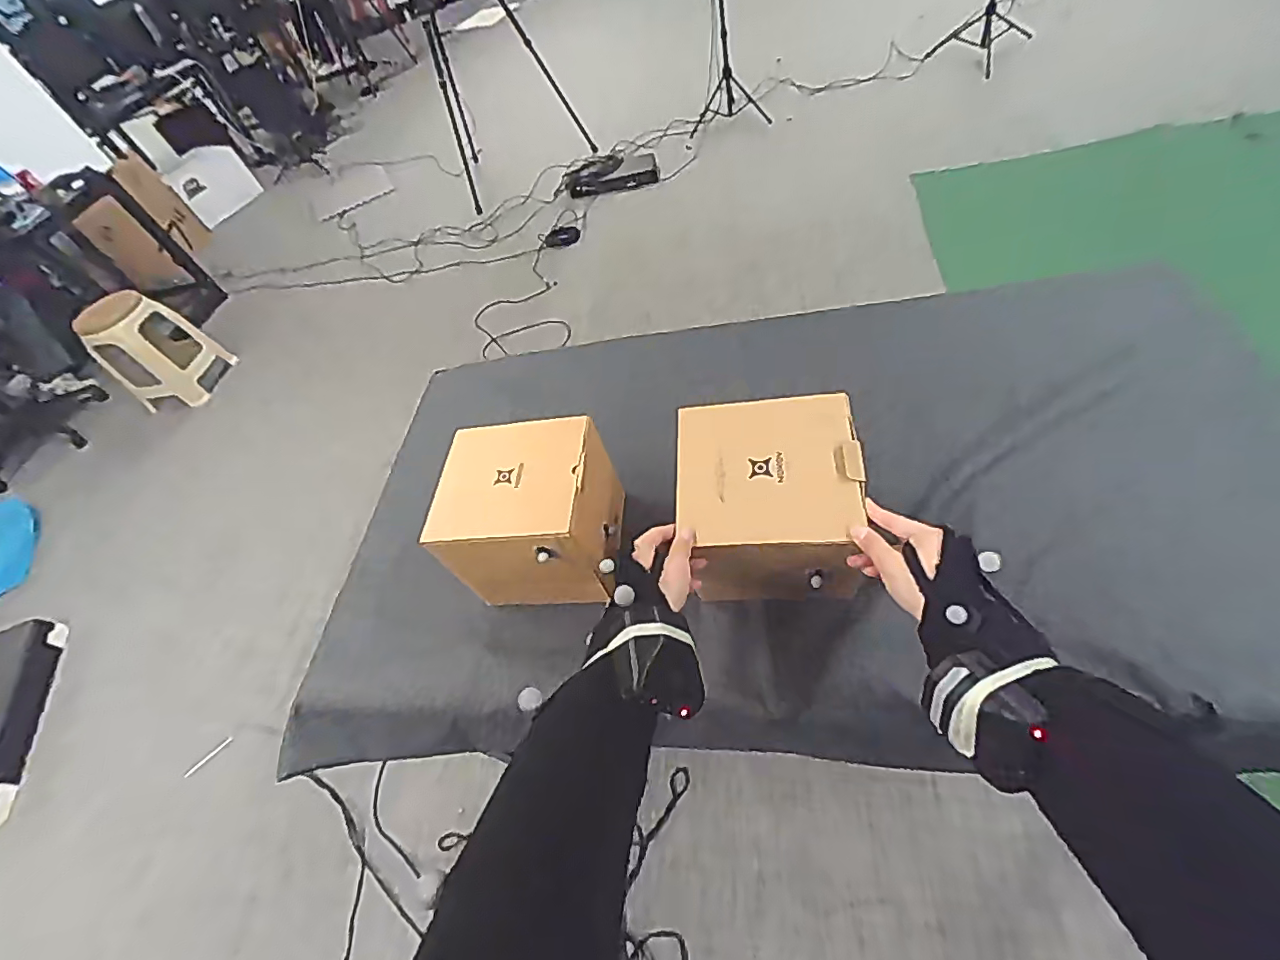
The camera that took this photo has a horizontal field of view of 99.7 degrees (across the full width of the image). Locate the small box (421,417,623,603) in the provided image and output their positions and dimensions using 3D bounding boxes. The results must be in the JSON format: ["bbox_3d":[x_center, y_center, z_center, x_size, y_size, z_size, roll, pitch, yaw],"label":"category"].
[{"bbox_3d":[-0.132,0.044,0.677,0.179,0.176,0.168,-5,52,12],"label":"small box"}]

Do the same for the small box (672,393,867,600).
[{"bbox_3d":[0.139,0.028,0.596,0.179,0.176,0.168,-5,58,15],"label":"small box"}]
